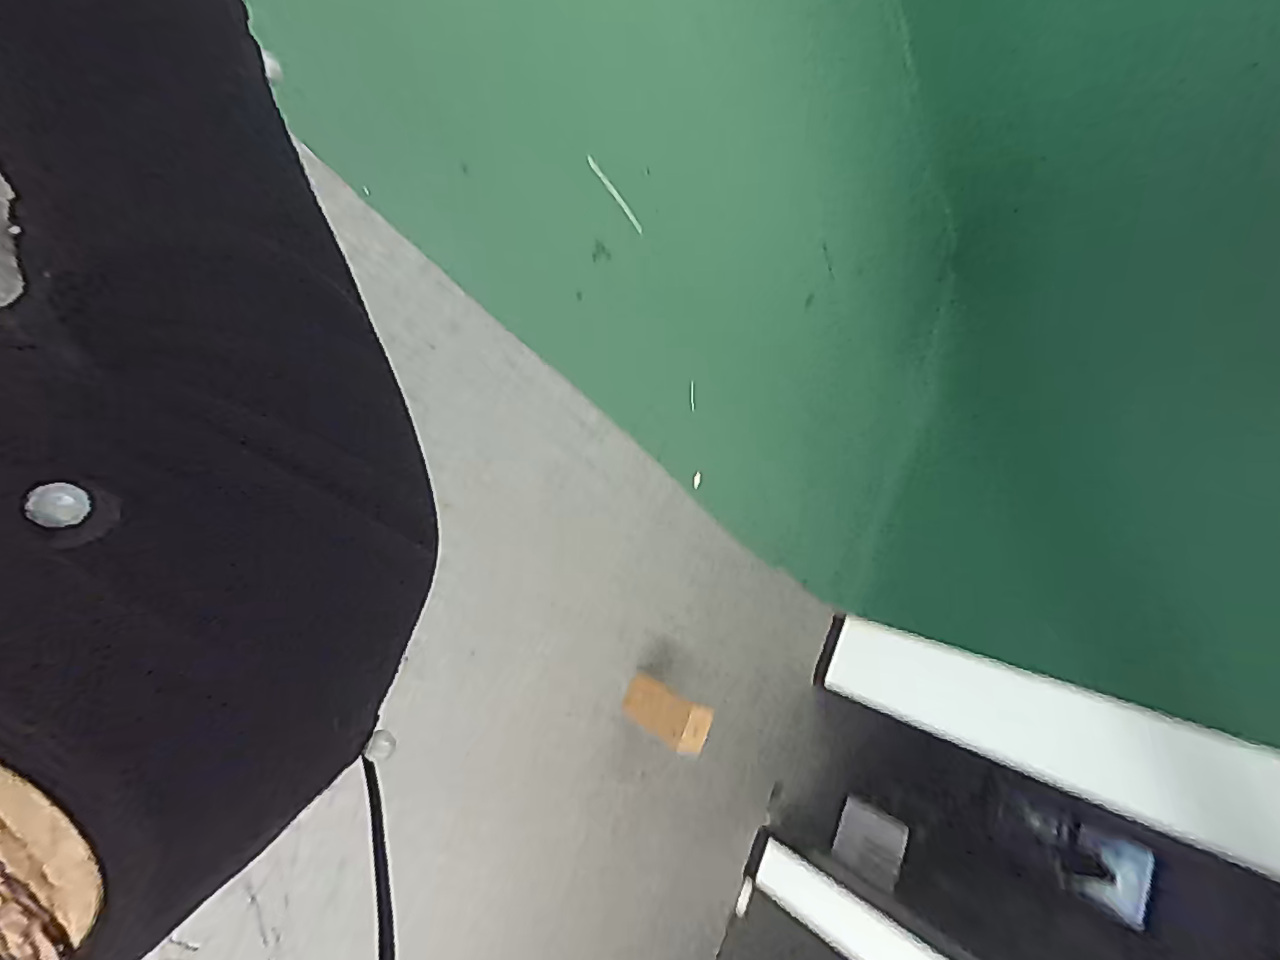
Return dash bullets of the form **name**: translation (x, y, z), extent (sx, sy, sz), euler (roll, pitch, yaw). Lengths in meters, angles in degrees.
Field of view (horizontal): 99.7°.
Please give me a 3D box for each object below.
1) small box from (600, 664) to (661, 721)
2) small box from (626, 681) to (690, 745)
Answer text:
- **small box**: translation (-0.047, 0.914, 2.309), extent (0.168, 0.176, 0.179), euler (36, 72, -44)
- **small box**: translation (0.067, 0.945, 2.193), extent (0.168, 0.176, 0.179), euler (38, 71, -44)
